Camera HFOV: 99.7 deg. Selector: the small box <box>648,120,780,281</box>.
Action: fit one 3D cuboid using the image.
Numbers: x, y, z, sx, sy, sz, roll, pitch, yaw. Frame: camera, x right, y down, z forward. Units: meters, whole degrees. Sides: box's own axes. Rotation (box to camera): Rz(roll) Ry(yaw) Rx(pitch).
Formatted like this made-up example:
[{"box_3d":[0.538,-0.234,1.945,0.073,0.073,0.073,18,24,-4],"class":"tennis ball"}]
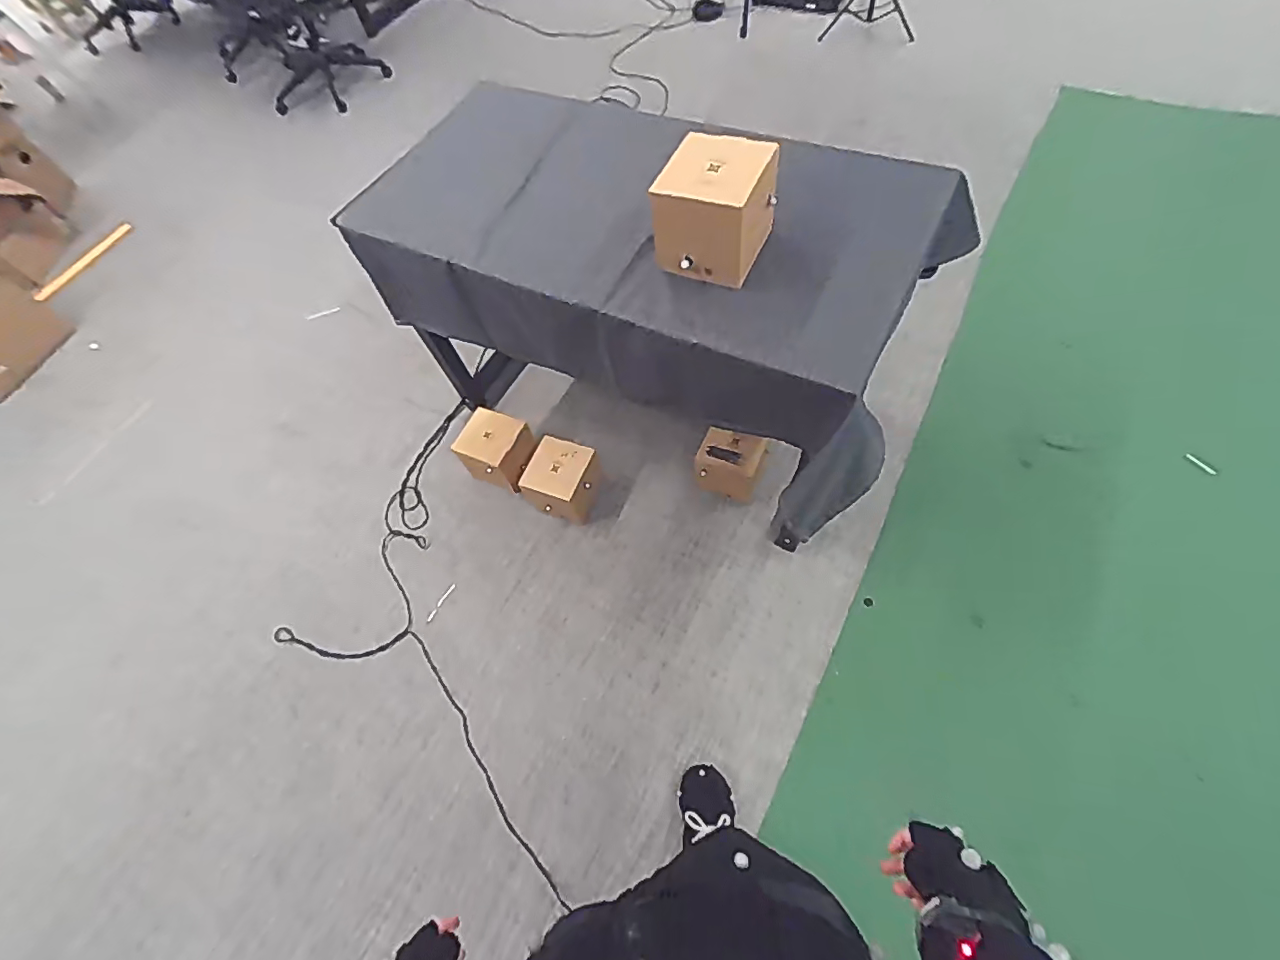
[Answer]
[{"box_3d":[0.130,-0.486,0.947,0.168,0.176,0.179,20,67,18],"class":"small box"}]
